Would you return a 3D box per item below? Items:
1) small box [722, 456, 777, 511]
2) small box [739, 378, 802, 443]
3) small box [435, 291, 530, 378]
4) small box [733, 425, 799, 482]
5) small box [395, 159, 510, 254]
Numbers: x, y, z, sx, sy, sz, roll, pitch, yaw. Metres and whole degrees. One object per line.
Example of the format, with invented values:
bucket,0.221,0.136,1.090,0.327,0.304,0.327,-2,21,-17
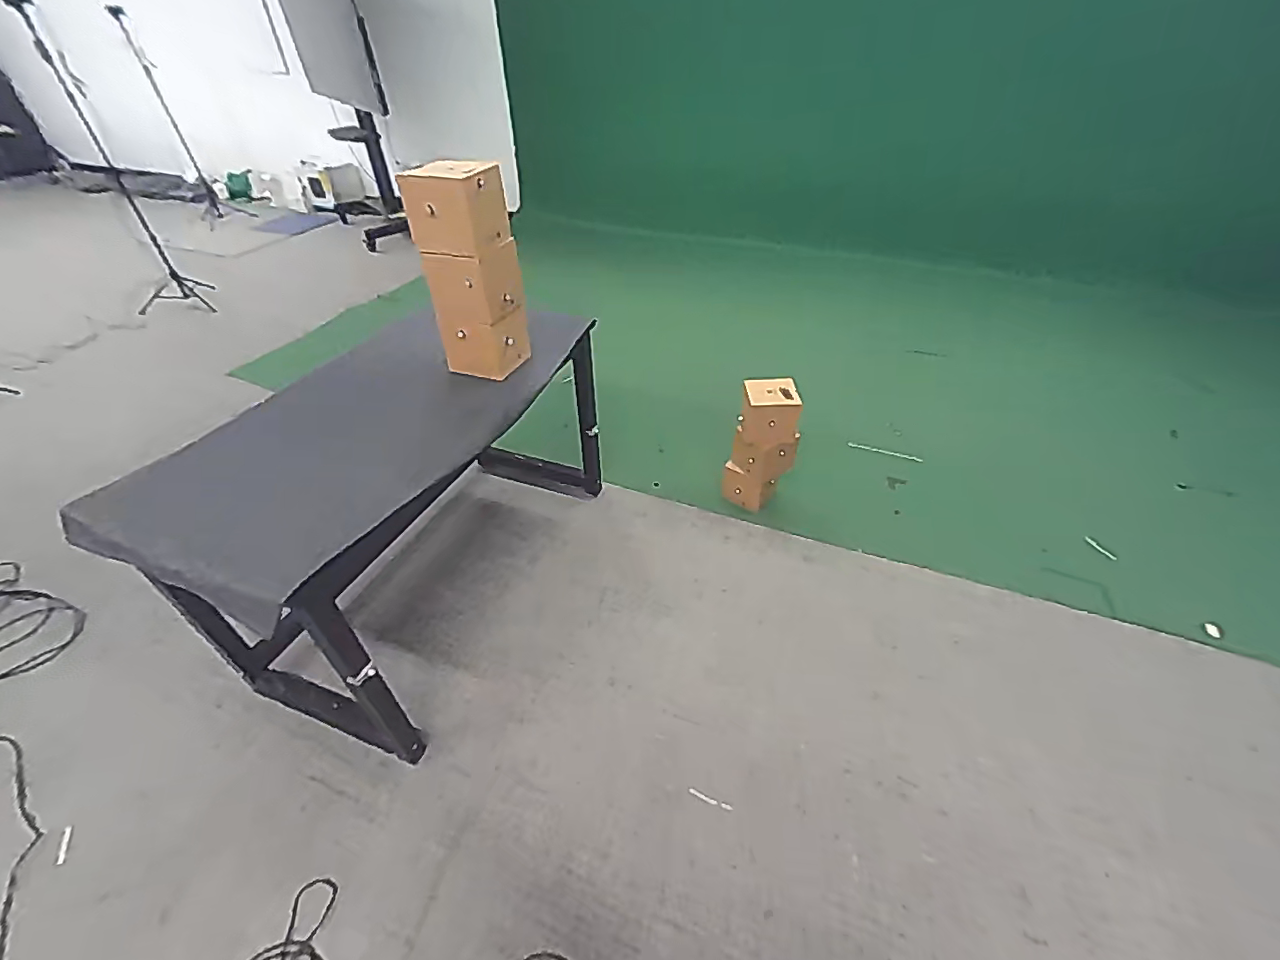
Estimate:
small box,0.439,-0.008,2.146,0.168,0.176,0.179,28,48,28
small box,0.457,-0.244,1.920,0.179,0.176,0.168,-1,42,0
small box,-0.425,-0.400,1.493,0.179,0.176,0.168,14,43,17
small box,0.465,-0.119,2.026,0.179,0.176,0.168,-21,47,-23
small box,-0.432,-0.647,1.277,0.179,0.176,0.168,11,43,15
